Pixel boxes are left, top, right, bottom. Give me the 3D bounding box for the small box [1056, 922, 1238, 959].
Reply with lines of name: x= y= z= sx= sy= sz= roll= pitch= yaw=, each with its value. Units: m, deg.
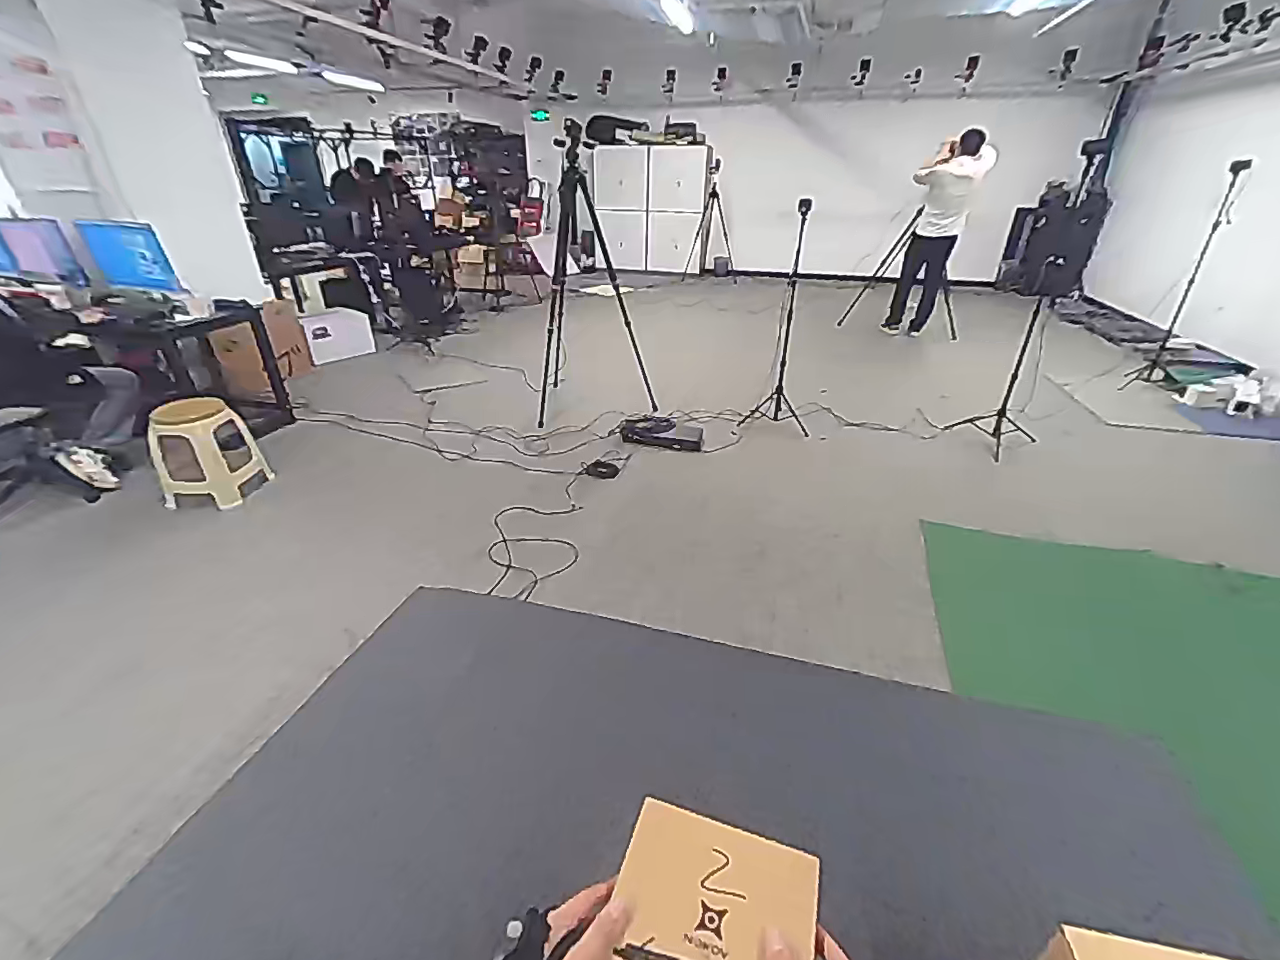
small box: x=0.405 y=0.478 z=0.390 sx=0.168 sy=0.176 sz=0.179 roll=6 pitch=30 yaw=10
